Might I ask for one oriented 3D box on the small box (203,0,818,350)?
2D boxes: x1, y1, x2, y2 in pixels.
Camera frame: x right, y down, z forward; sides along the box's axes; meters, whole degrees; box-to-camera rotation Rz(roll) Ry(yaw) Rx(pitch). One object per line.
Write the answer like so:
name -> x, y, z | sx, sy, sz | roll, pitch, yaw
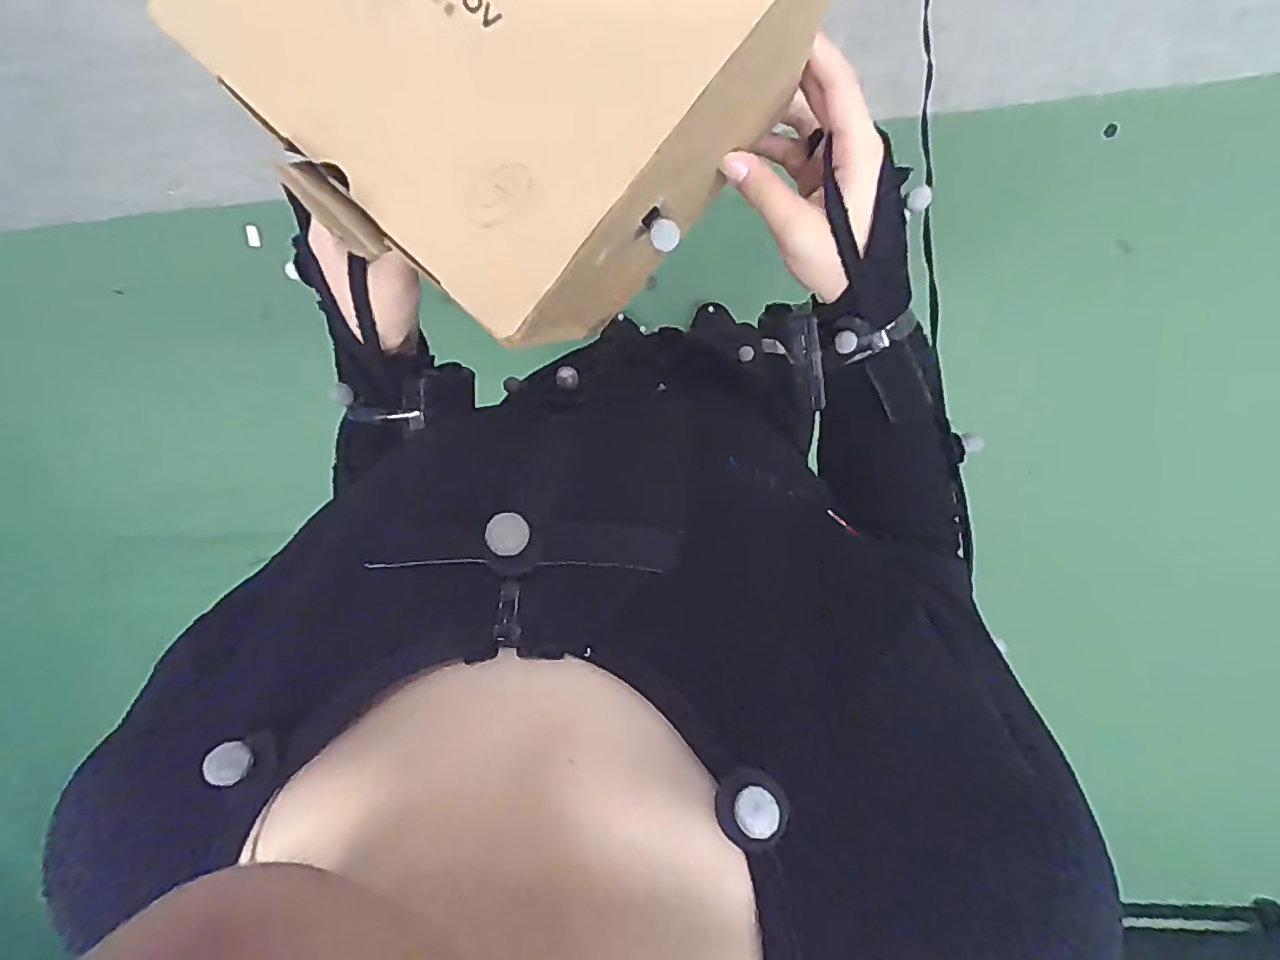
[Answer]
small box -> -0.038, -0.185, 0.260 | 0.168, 0.176, 0.179 | 42, 107, -6
